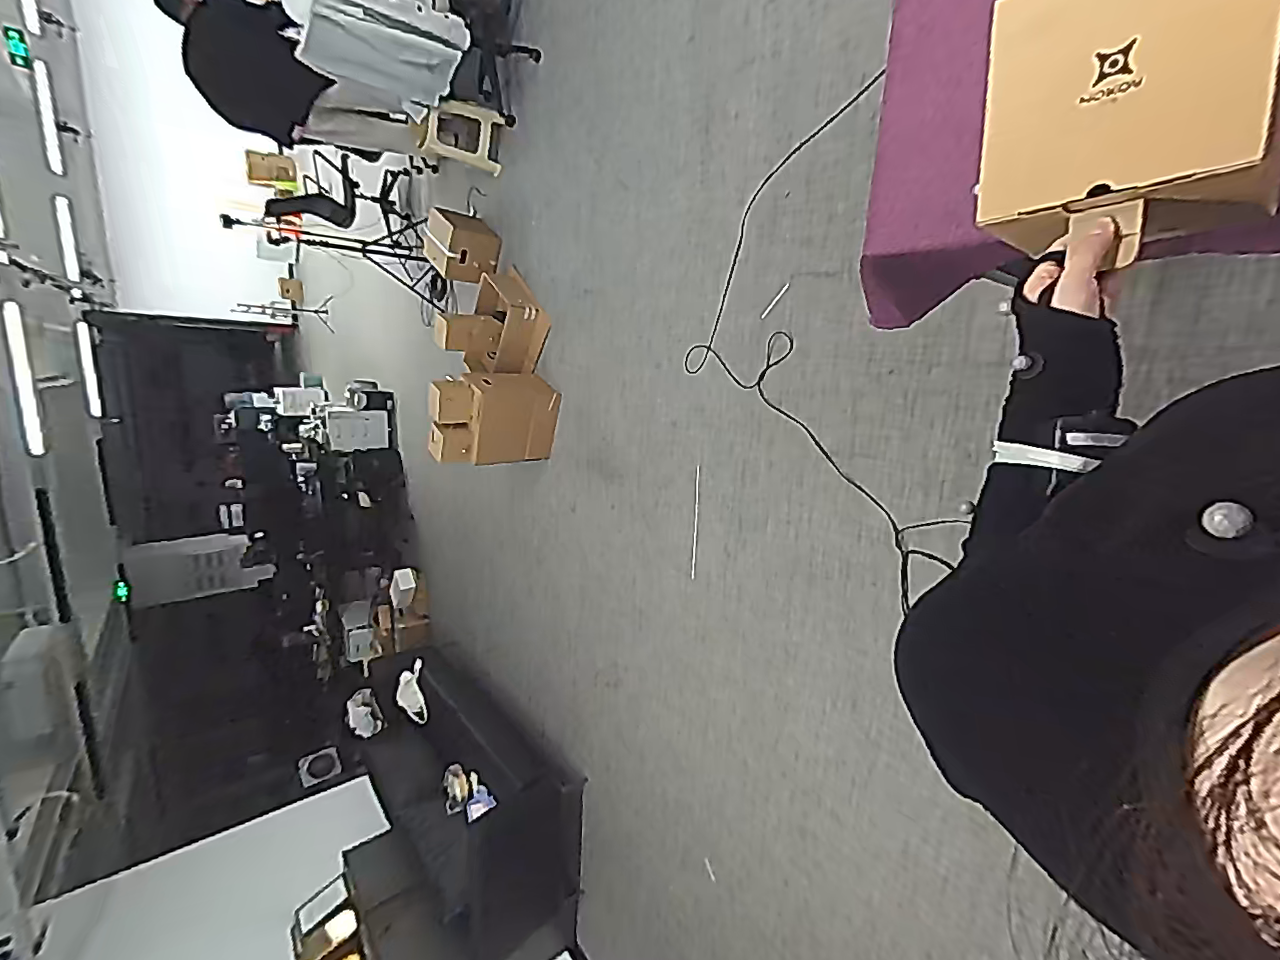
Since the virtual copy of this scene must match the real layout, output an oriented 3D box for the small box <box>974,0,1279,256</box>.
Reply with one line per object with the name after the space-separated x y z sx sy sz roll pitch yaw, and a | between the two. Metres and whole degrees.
0.413 -0.309 0.461 0.168 0.176 0.179 10 103 49 | small box
